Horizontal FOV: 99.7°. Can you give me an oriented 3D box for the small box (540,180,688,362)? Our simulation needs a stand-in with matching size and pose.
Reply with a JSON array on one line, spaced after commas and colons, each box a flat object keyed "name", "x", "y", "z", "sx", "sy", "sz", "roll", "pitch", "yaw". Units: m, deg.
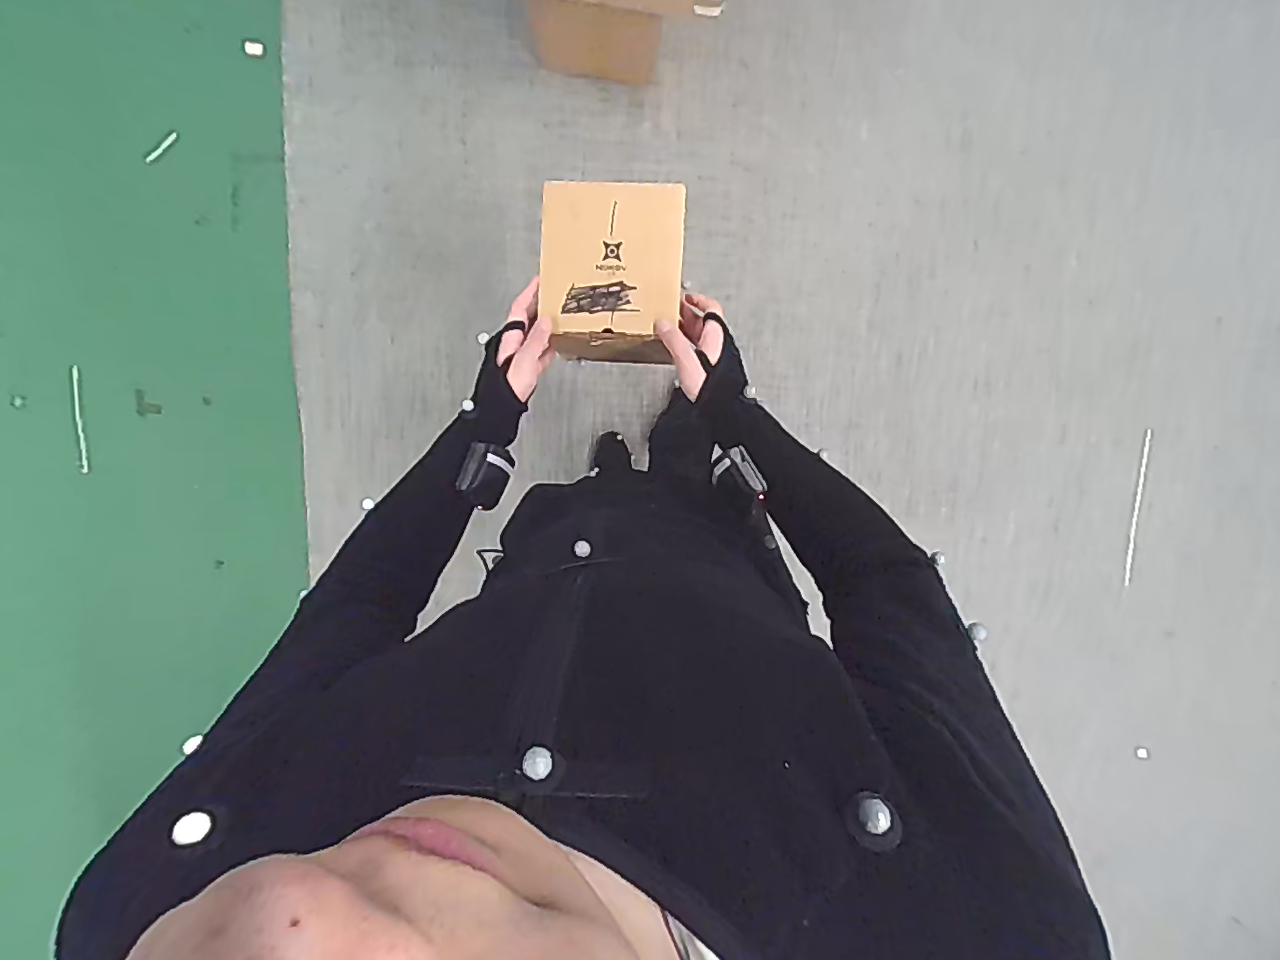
[{"name": "small box", "x": -0.026, "y": -0.255, "z": 0.698, "sx": 0.168, "sy": 0.176, "sz": 0.179, "roll": 3, "pitch": 91, "yaw": 2}]
